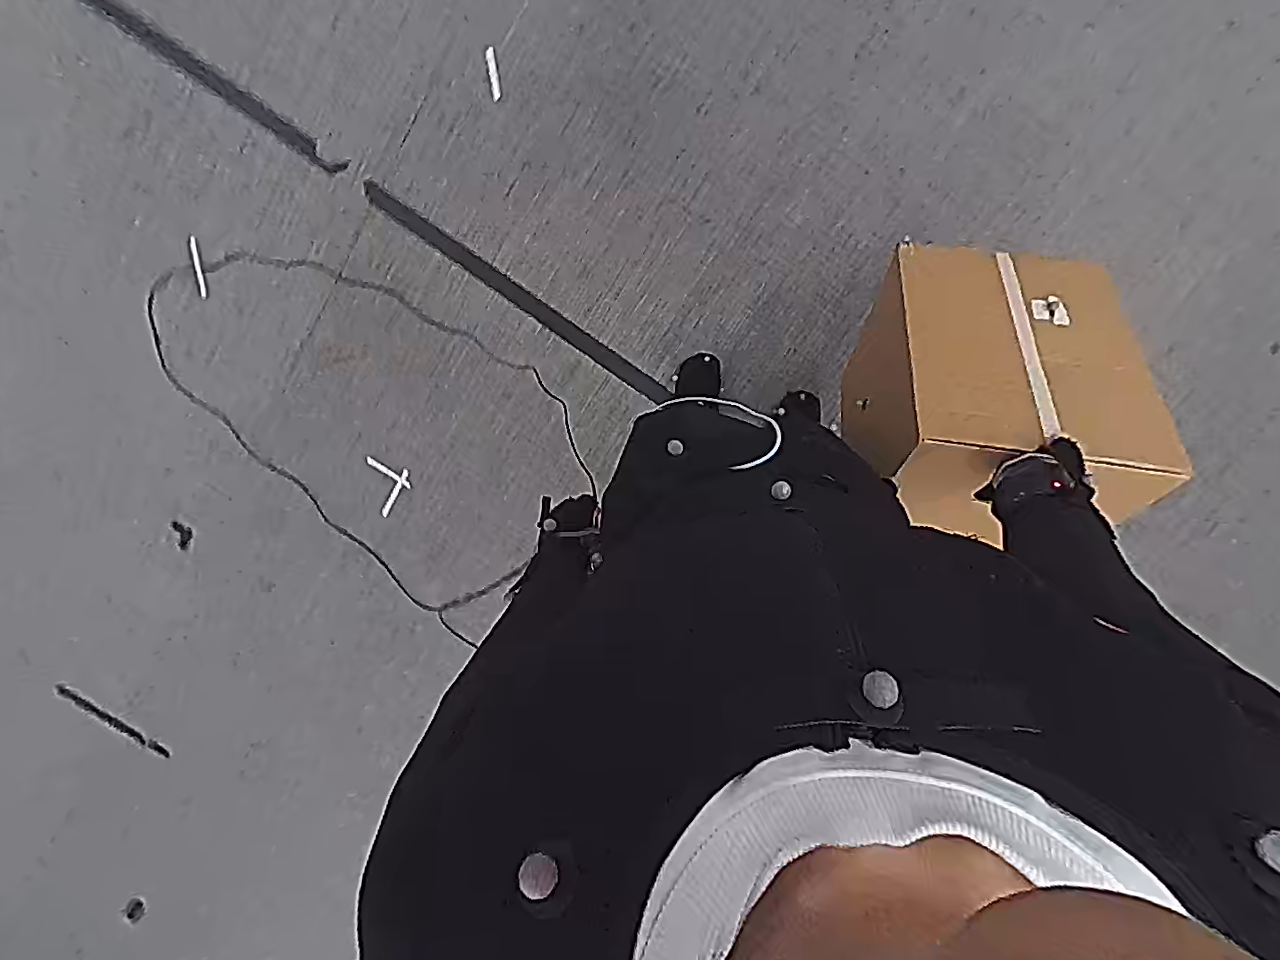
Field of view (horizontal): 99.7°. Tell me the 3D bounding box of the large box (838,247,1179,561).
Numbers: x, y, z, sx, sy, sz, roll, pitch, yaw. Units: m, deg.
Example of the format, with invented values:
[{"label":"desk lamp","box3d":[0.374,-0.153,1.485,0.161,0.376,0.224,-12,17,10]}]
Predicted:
[{"label":"large box","box3d":[0.531,-0.120,0.893,0.320,0.408,0.320,8,147,5]}]
